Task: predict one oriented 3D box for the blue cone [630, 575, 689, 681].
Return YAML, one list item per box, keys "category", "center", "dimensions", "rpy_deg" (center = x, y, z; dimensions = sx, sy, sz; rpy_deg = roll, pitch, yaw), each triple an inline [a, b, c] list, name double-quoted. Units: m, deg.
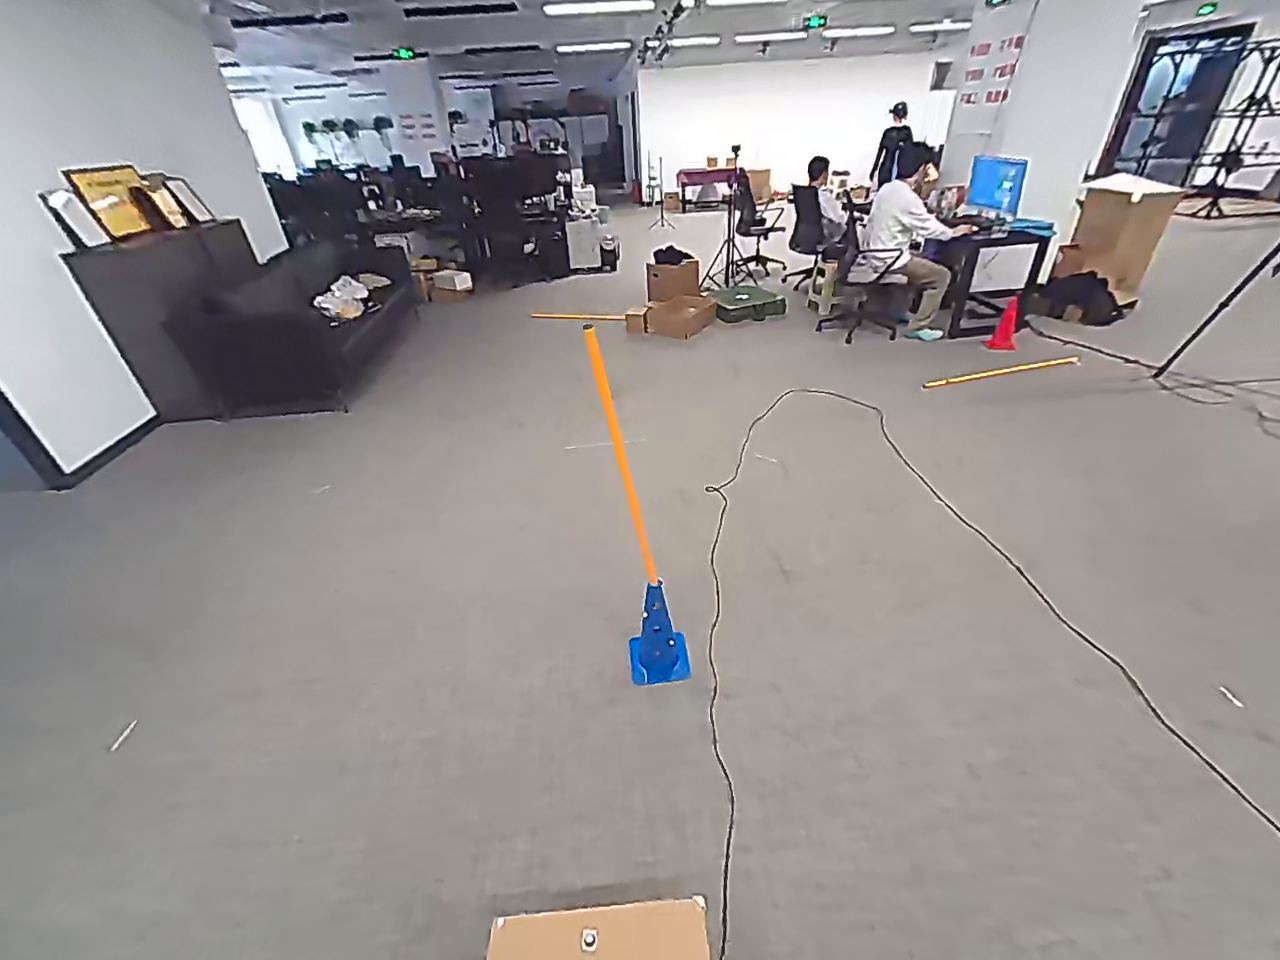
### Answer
- category: "blue cone"
  center: [0.053, 0.466, 1.770]
  dimensions: [0.193, 0.380, 0.192]
  rpy_deg: [-8, 33, -4]
